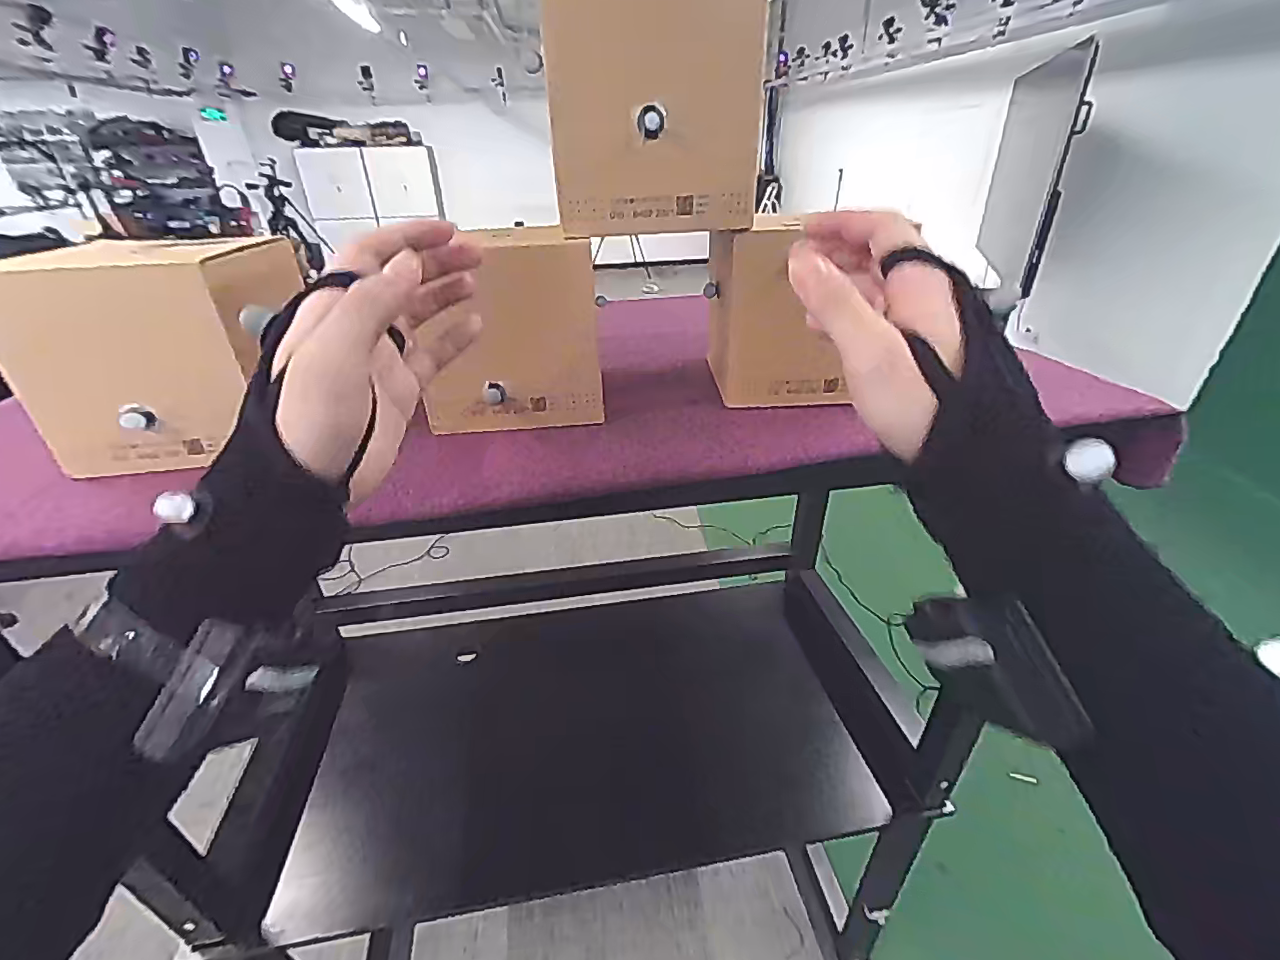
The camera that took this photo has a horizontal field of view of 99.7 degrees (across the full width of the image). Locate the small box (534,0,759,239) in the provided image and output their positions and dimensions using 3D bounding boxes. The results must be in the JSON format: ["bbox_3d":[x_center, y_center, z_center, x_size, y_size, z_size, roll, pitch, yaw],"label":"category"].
[{"bbox_3d":[0.003,-0.316,0.490,0.168,0.176,0.179,-4,30,-4],"label":"small box"}]

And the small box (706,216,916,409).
[{"bbox_3d":[0.162,-0.184,0.582,0.168,0.176,0.179,-3,29,1],"label":"small box"}]

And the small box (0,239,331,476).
[{"bbox_3d":[-0.413,-0.120,0.499,0.168,0.176,0.179,-6,31,-8],"label":"small box"}]

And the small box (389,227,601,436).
[{"bbox_3d":[-0.129,-0.157,0.553,0.168,0.176,0.179,-5,31,-4],"label":"small box"}]
